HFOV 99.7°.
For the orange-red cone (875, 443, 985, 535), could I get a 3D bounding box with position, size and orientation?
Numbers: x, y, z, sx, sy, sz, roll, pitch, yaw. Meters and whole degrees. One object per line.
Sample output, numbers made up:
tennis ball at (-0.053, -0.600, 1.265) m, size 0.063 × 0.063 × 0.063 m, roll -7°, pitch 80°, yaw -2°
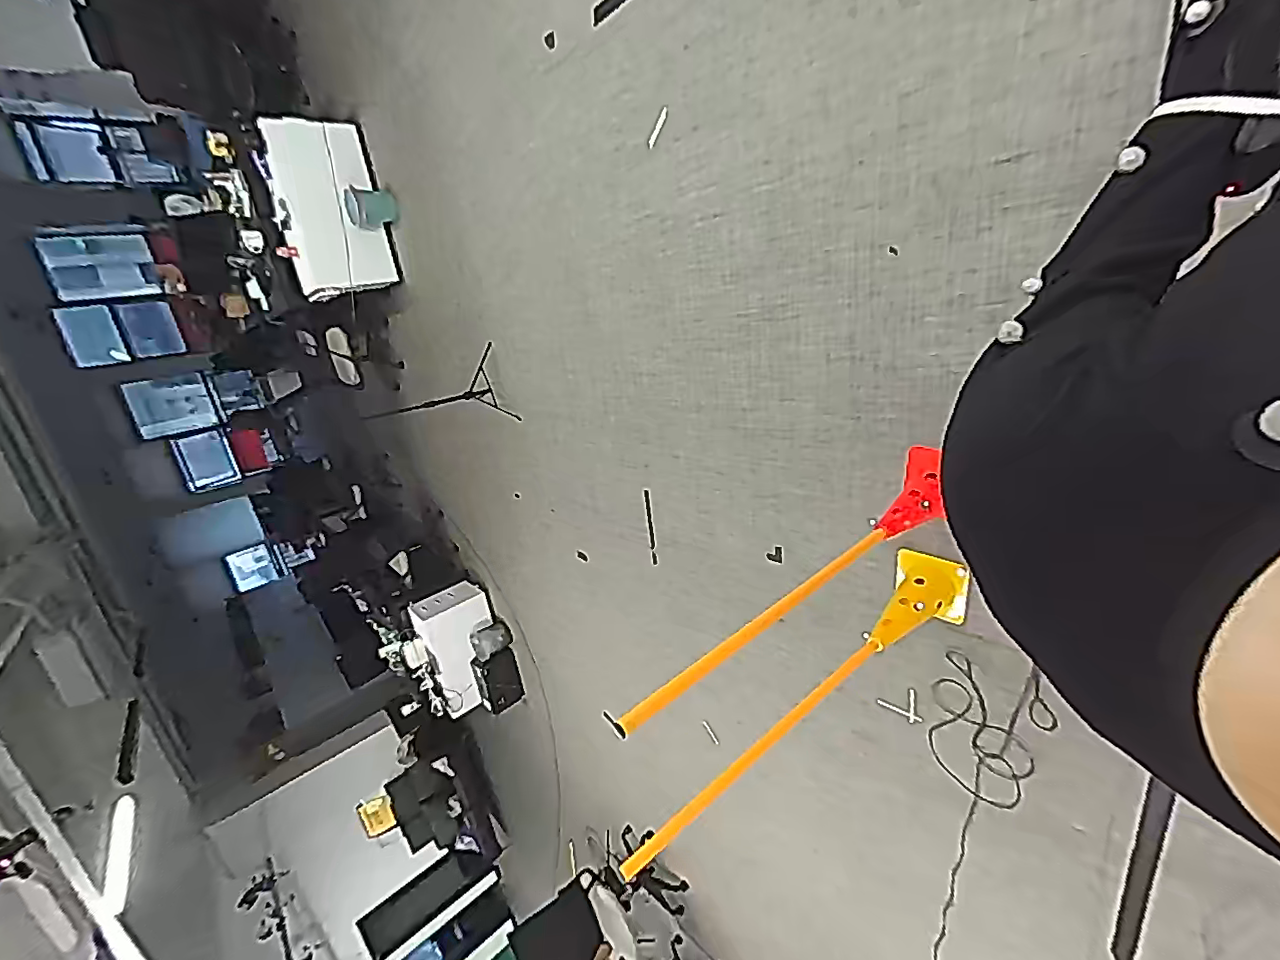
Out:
orange-red cone at (0.703, 0.058, 1.388) m, size 0.198 × 0.360 × 0.199 m, roll 22°, pitch 123°, yaw 43°
